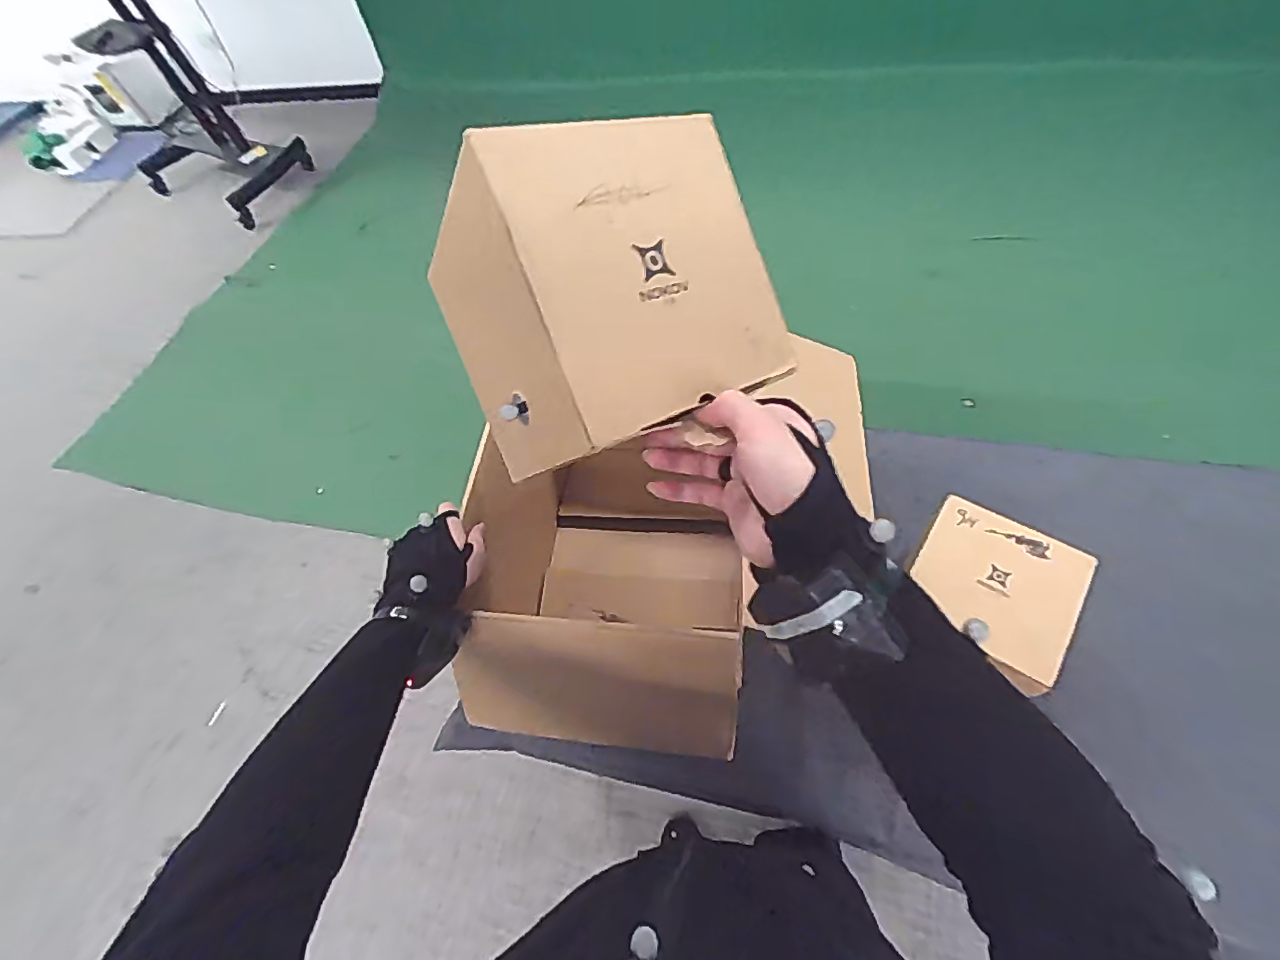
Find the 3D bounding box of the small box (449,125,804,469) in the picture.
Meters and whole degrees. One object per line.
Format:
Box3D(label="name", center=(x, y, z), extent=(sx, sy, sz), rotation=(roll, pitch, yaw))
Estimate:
Box3D(label="small box", center=(-0.021, -0.115, 0.395), extent=(0.168, 0.176, 0.179), rotation=(-25, 94, -28))
